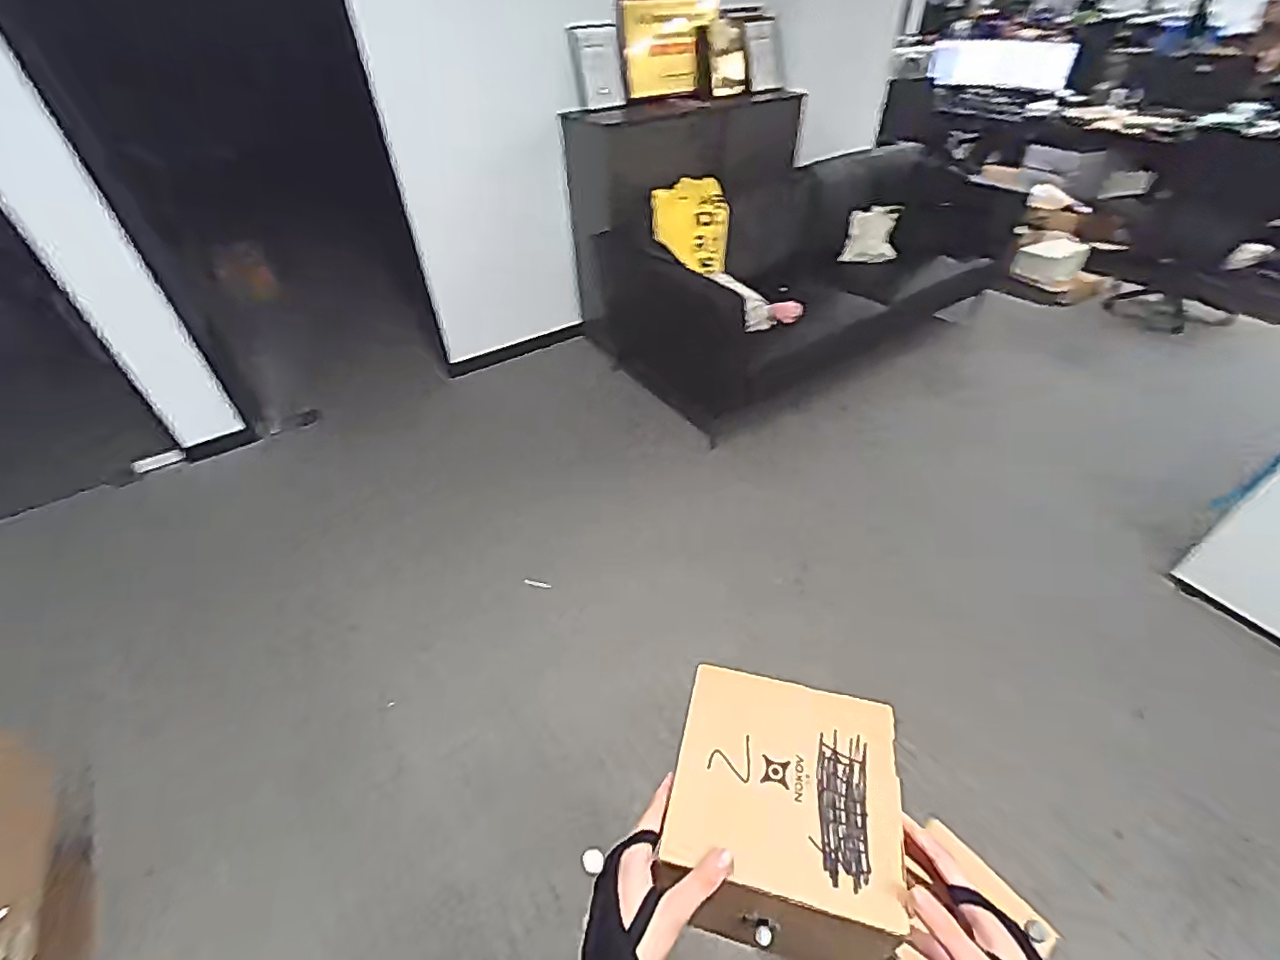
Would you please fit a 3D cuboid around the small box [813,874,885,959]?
[{"bbox_3d":[0.427,0.845,0.939,0.168,0.176,0.179,-27,47,-23],"label":"small box"}]

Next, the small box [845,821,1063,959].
[{"bbox_3d":[0.399,0.607,0.717,0.179,0.176,0.168,-29,47,-24],"label":"small box"}]

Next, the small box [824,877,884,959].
[{"bbox_3d":[0.411,0.731,0.822,0.168,0.176,0.179,-28,48,-25],"label":"small box"}]
